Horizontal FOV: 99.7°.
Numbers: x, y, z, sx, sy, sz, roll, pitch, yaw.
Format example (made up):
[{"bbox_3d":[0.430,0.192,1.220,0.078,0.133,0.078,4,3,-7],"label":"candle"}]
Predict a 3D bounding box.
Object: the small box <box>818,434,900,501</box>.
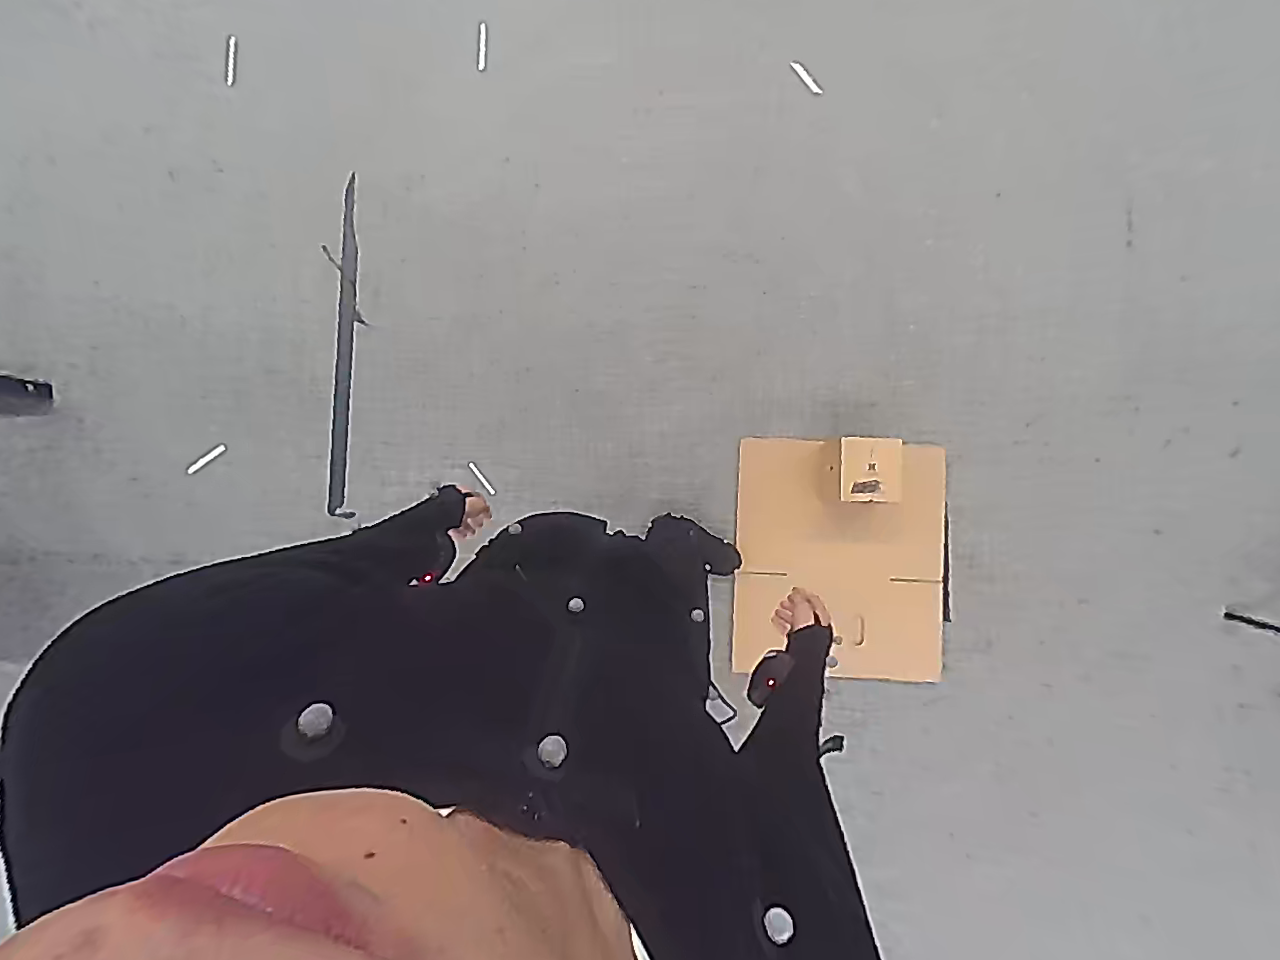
[{"bbox_3d":[0.613,-0.031,1.530,0.168,0.176,0.179,3,87,1],"label":"small box"}]
